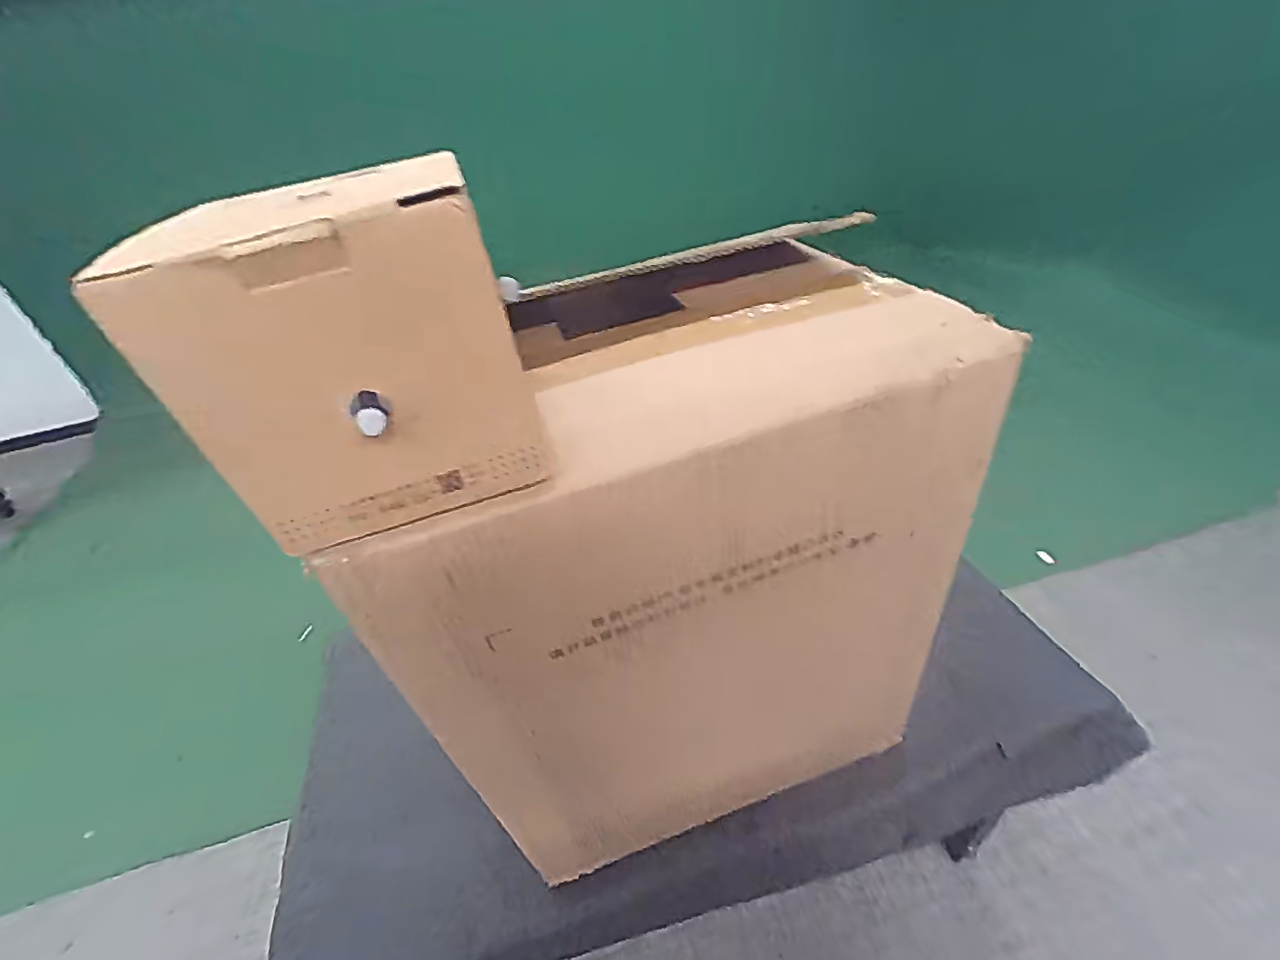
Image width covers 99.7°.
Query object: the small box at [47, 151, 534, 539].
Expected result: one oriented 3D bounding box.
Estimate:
[{"bbox_3d":[-0.176,-0.084,0.342,0.168,0.176,0.179,-18,40,-8],"label":"small box"}]
